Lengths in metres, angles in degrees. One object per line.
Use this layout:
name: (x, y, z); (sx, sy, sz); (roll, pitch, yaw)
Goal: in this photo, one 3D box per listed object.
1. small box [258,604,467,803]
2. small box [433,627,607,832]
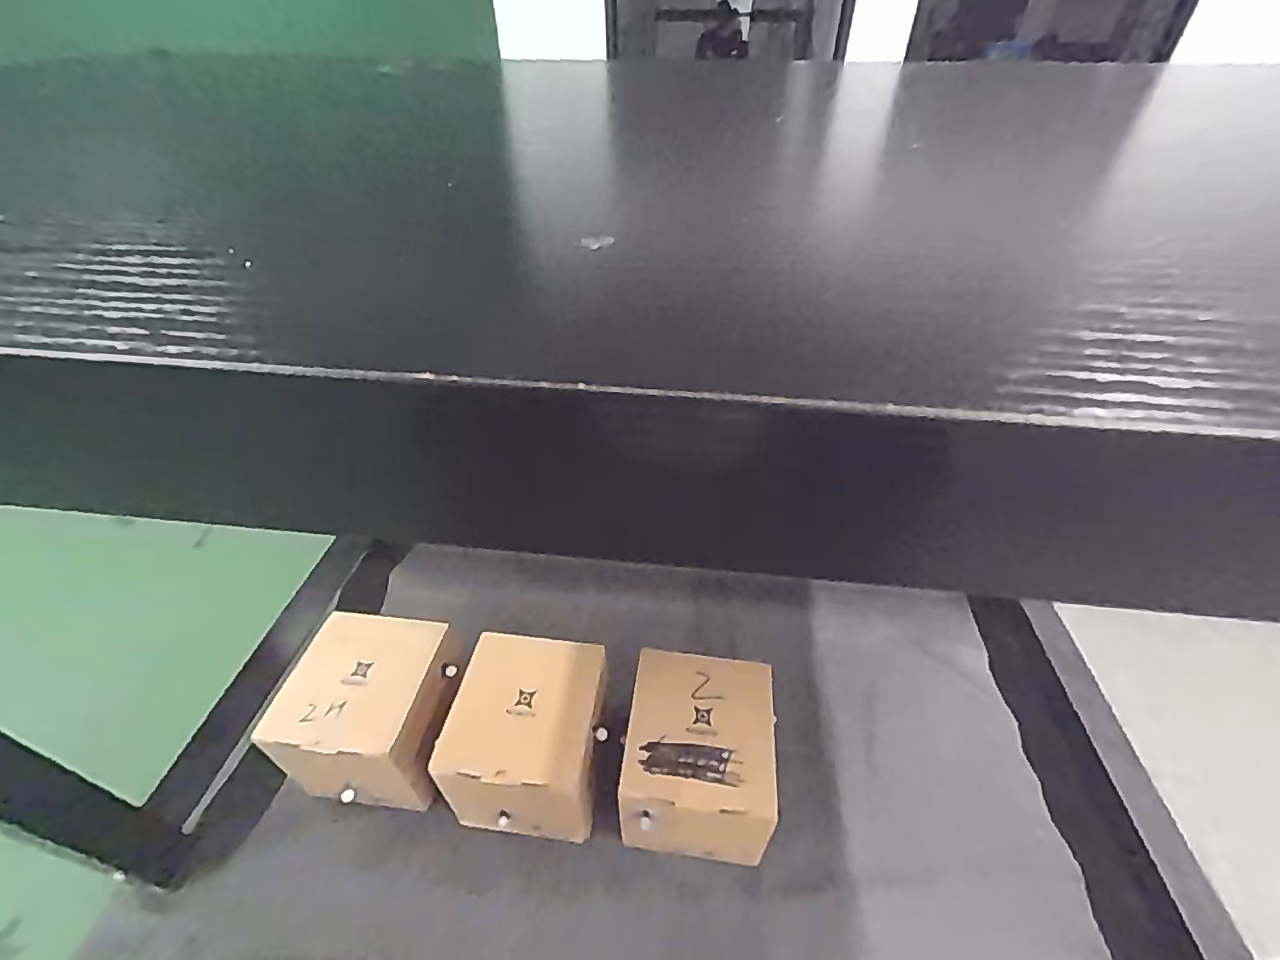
small box: (-0.343, 0.294, 0.716); (0.168, 0.176, 0.179); (5, 42, 5)
small box: (-0.137, 0.317, 0.694); (0.168, 0.176, 0.179); (6, 42, 5)
